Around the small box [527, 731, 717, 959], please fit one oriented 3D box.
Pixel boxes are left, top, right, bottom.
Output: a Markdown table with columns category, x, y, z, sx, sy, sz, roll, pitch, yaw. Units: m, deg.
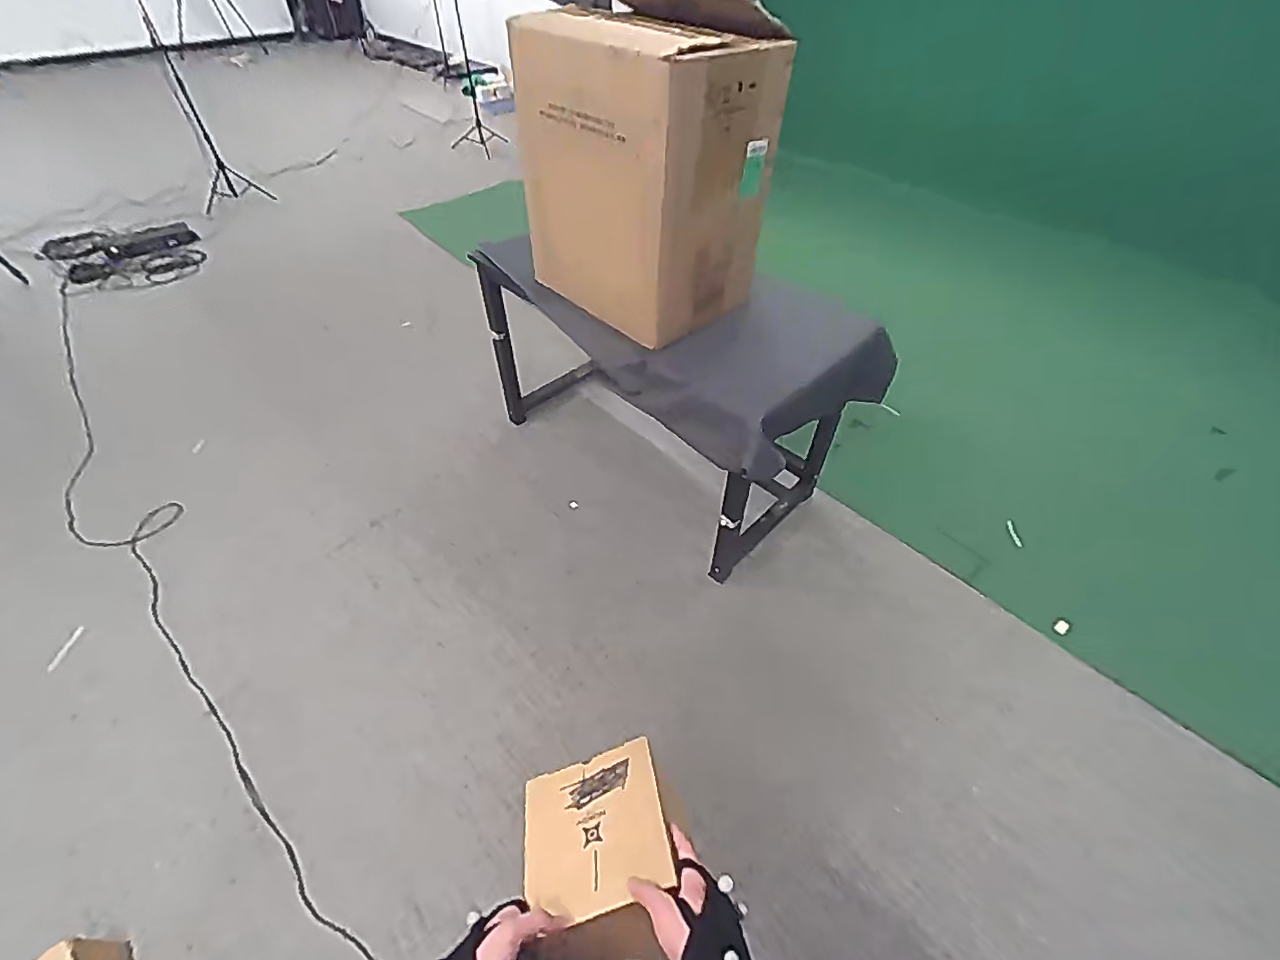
| category | x | y | z | sx | sy | sz | roll | pitch | yaw |
| --- | --- | --- | --- | --- | --- | --- | --- | --- | --- |
| small box | -0.023 | 0.450 | 0.647 | 0.168 | 0.176 | 0.179 | -22 | 28 | 0 |

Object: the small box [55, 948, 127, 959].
| category | x | y | z | sx | sy | sz | roll | pitch | yaw |
| --- | --- | --- | --- | --- | --- | --- | --- | --- | --- |
| small box | -1.104 | 1.041 | 1.021 | 0.179 | 0.176 | 0.168 | -33 | 55 | -30 |
